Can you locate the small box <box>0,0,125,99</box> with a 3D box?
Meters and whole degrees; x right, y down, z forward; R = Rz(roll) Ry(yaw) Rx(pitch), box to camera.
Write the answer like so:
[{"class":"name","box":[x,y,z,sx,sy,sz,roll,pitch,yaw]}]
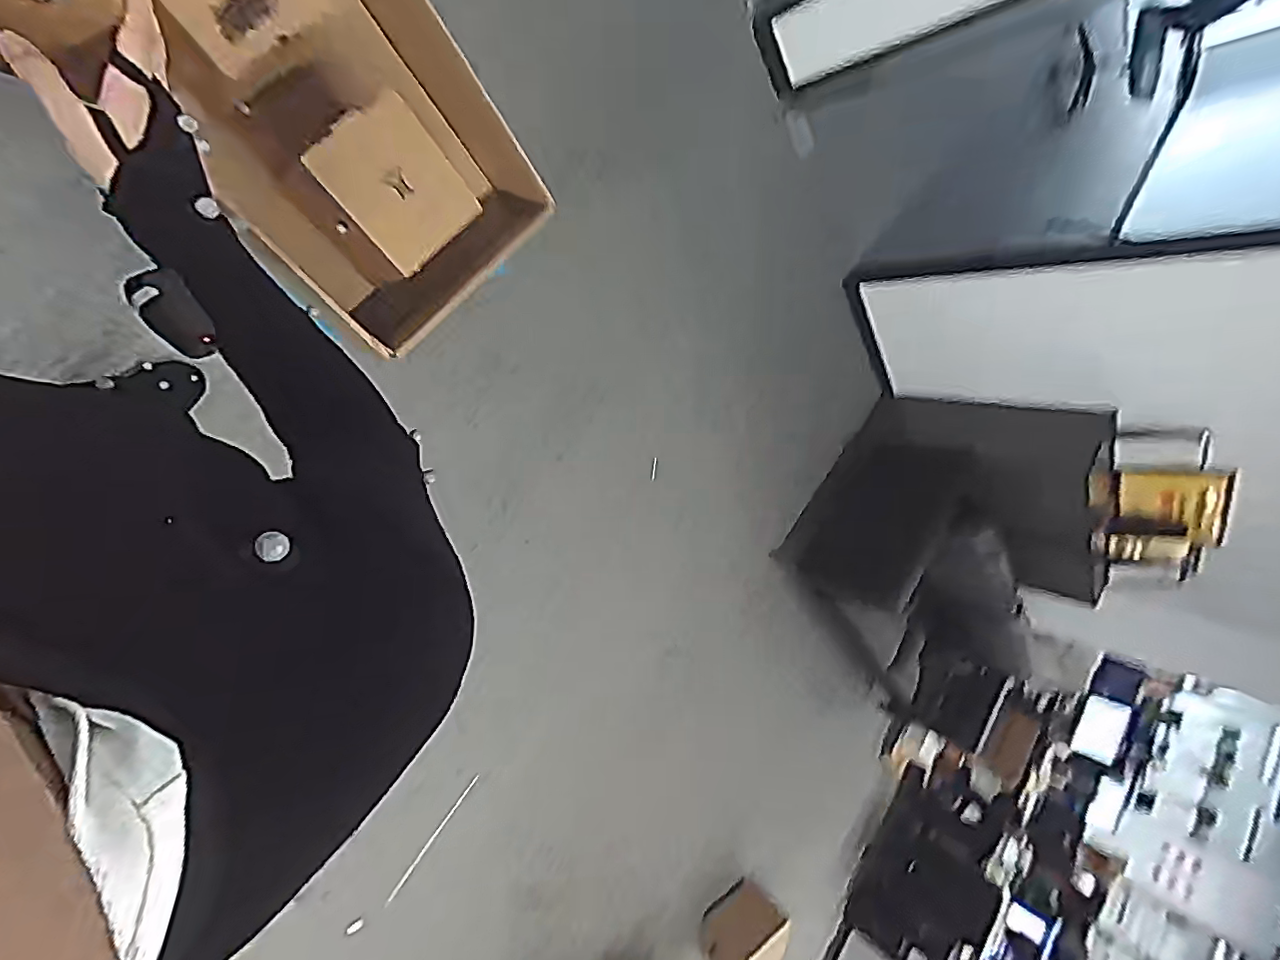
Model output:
[{"class":"small box","box":[-0.451,-0.394,0.341,0.179,0.176,0.168,1,87,-42]}]
